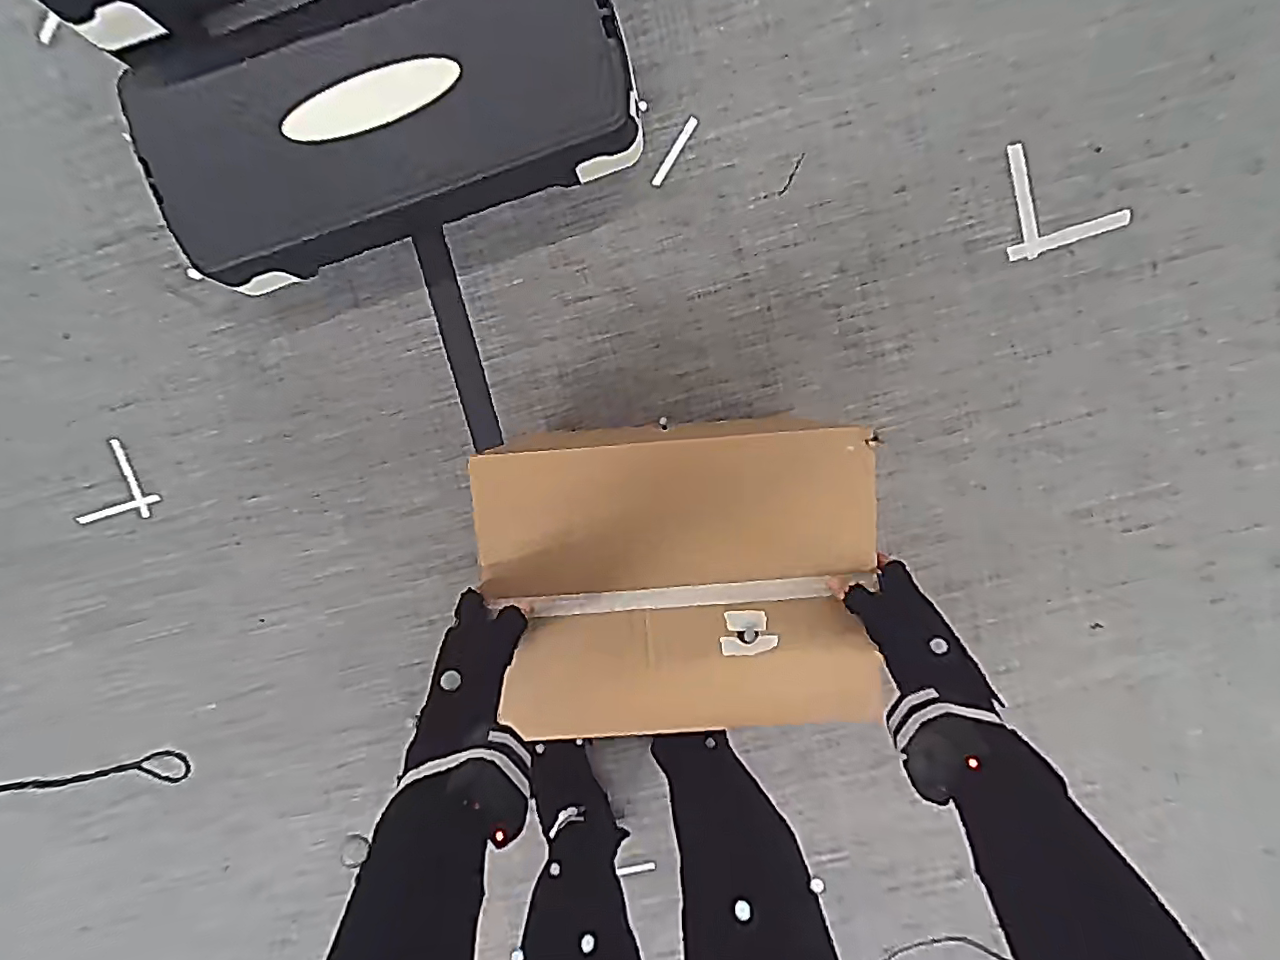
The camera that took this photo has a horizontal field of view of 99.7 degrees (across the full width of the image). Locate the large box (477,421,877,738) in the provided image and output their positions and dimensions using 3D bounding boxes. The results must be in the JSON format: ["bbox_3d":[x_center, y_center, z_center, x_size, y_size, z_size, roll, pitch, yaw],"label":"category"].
[{"bbox_3d":[0.044,0.095,0.715,0.408,0.320,0.320,-5,98,2],"label":"large box"}]

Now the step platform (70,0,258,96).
[{"bbox_3d":[-0.395,-0.771,0.672,0.684,0.204,0.286,-16,99,4],"label":"step platform"}]
